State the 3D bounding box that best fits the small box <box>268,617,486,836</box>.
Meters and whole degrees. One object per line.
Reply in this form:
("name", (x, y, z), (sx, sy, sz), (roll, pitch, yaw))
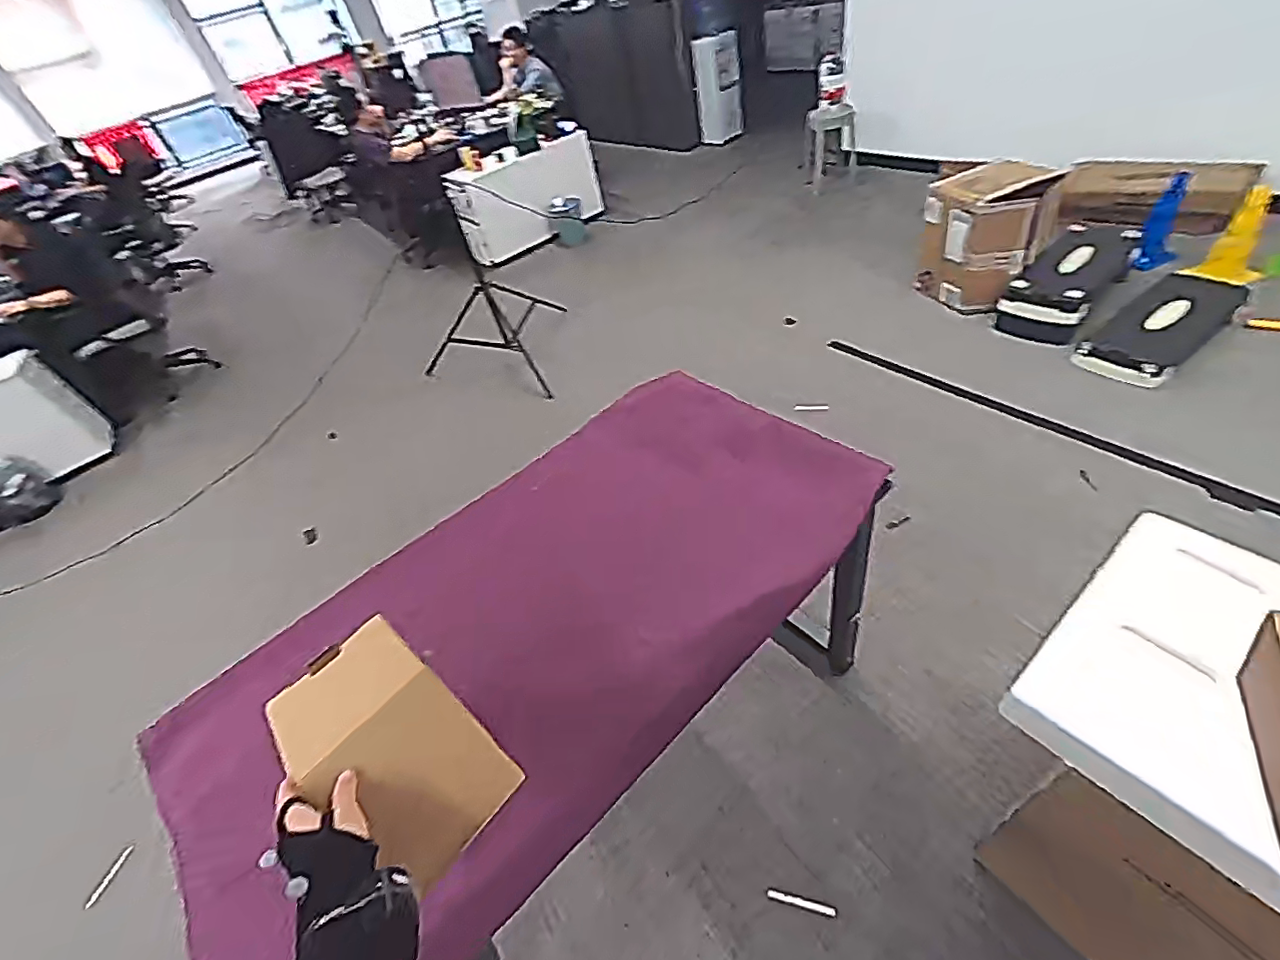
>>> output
("small box", (-0.333, 0.317, 0.700), (0.179, 0.176, 0.168), (15, 48, 47))
